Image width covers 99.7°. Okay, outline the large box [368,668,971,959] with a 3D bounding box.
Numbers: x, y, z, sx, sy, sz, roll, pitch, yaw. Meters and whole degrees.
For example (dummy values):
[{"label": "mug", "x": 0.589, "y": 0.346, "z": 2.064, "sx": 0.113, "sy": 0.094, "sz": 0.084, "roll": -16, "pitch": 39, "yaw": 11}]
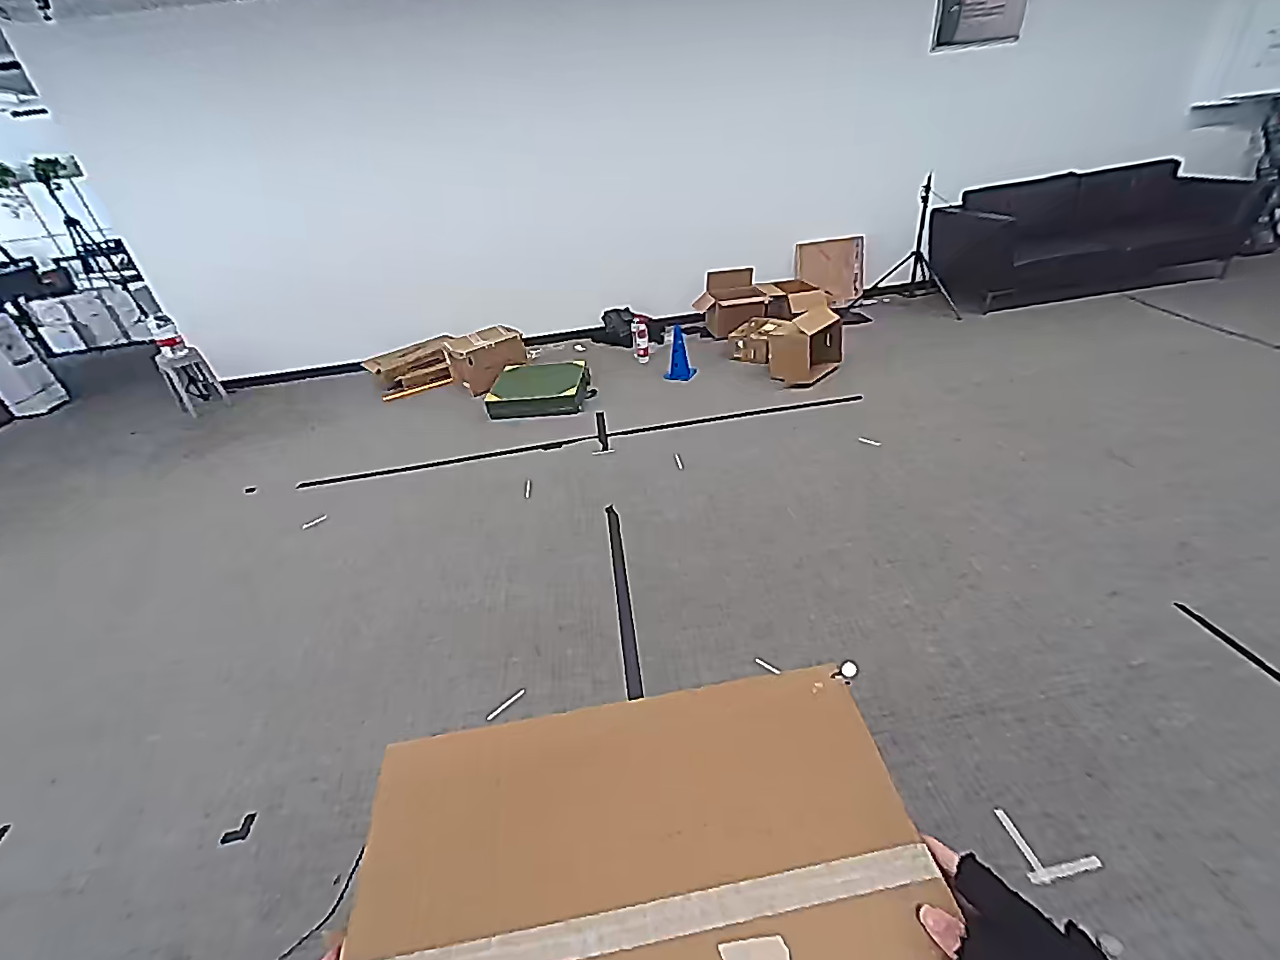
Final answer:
[{"label": "large box", "x": 0.017, "y": 0.416, "z": 0.472, "sx": 0.408, "sy": 0.320, "sz": 0.320, "roll": -8, "pitch": 41, "yaw": -5}]
